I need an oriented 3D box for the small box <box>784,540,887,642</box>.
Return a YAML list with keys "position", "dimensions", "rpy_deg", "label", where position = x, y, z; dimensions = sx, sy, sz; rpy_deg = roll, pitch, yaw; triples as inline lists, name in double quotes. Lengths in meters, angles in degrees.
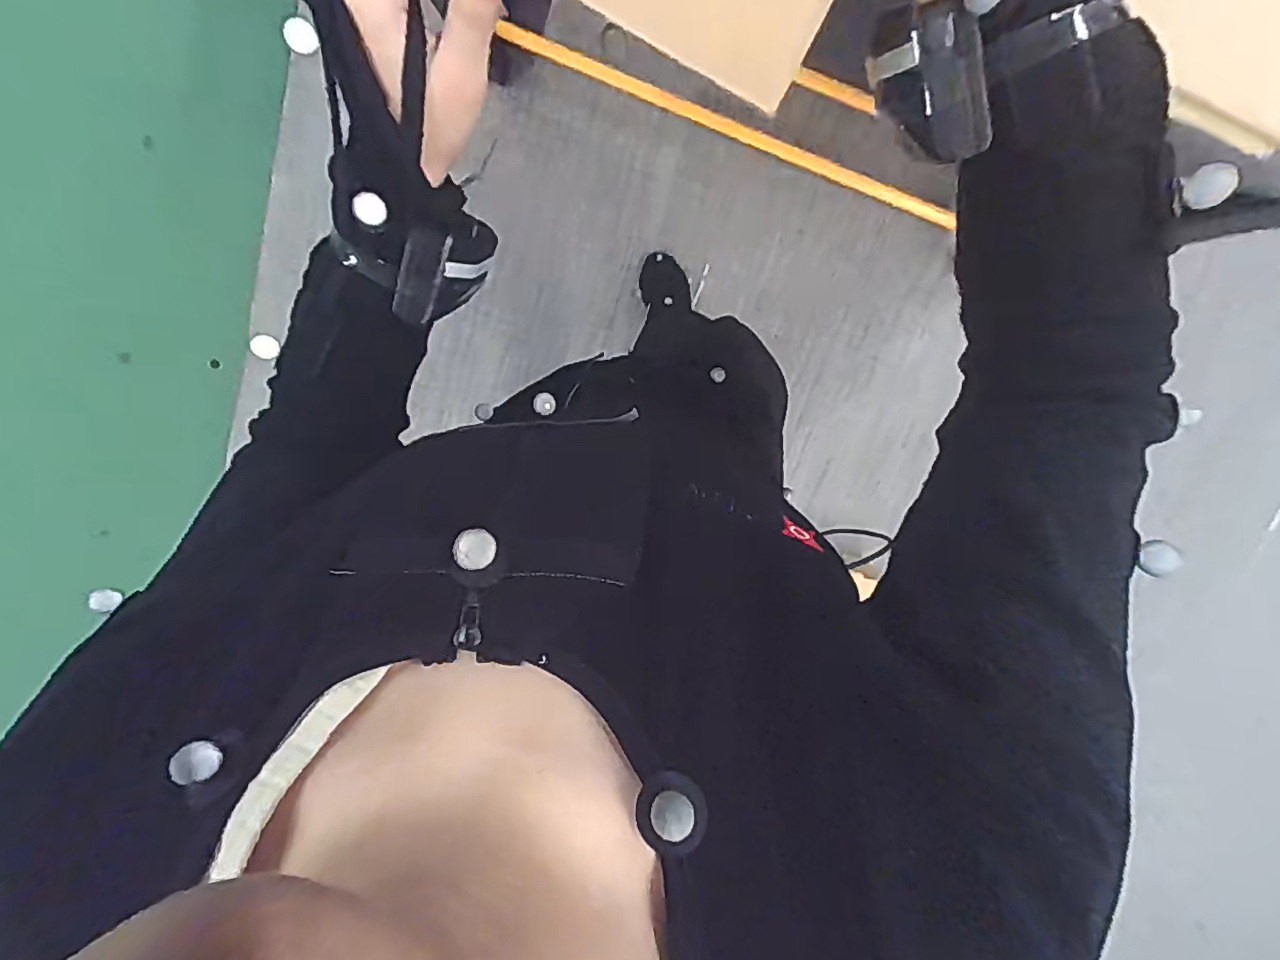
- position: [0.471, 0.266, 1.334]
  dimensions: [0.168, 0.176, 0.179]
  rpy_deg: [14, 104, -2]
  label: "small box"
